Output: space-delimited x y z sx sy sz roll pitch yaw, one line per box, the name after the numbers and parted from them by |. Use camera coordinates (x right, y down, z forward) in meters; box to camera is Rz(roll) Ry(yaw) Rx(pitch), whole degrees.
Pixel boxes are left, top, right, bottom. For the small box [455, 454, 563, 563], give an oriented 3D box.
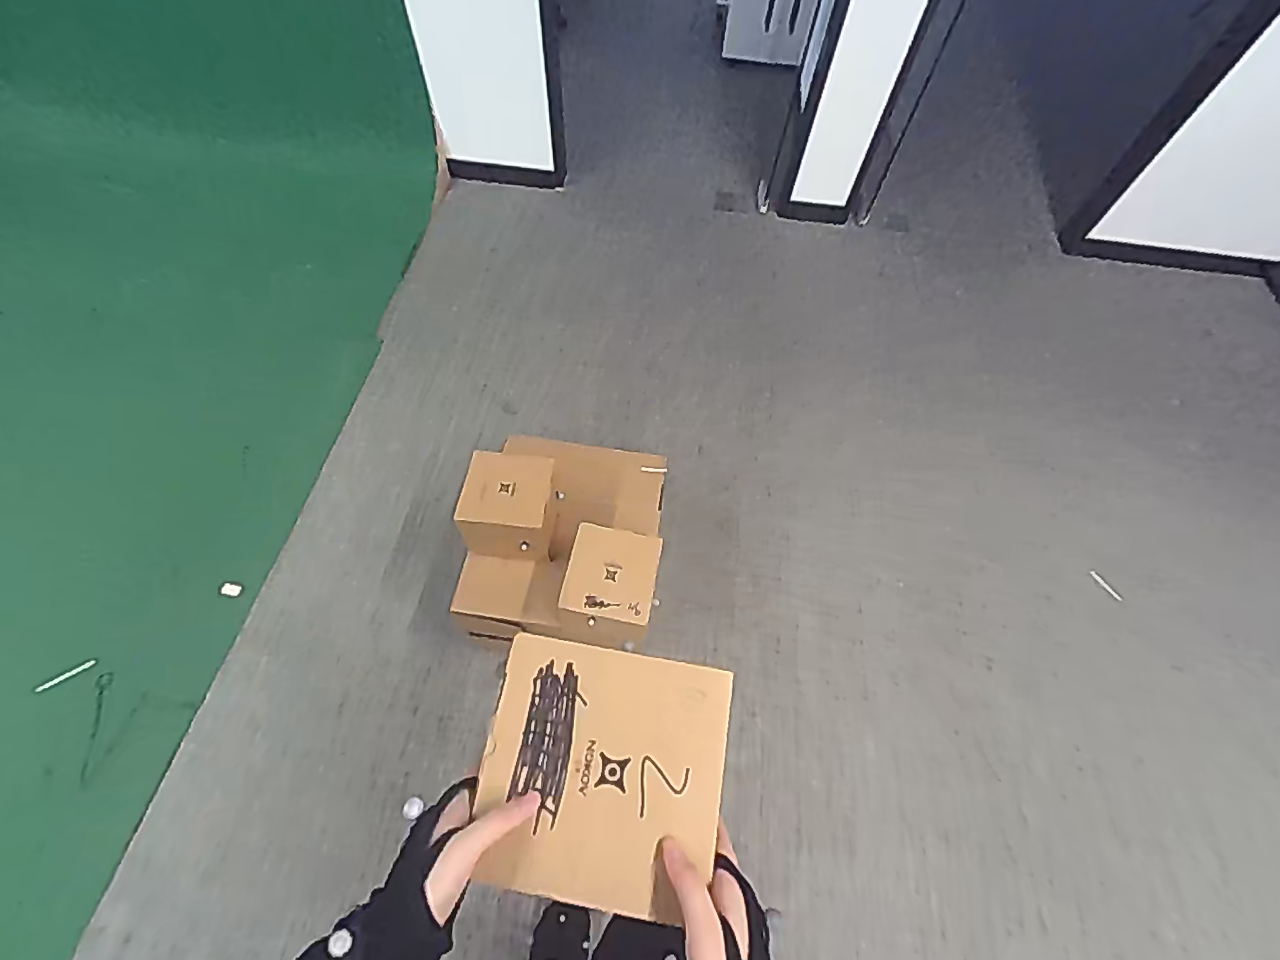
-0.265 0.066 1.147 0.179 0.176 0.168 6 58 2 | small box

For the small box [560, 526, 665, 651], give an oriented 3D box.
-0.054 0.217 1.065 0.168 0.176 0.179 12 59 3 | small box
